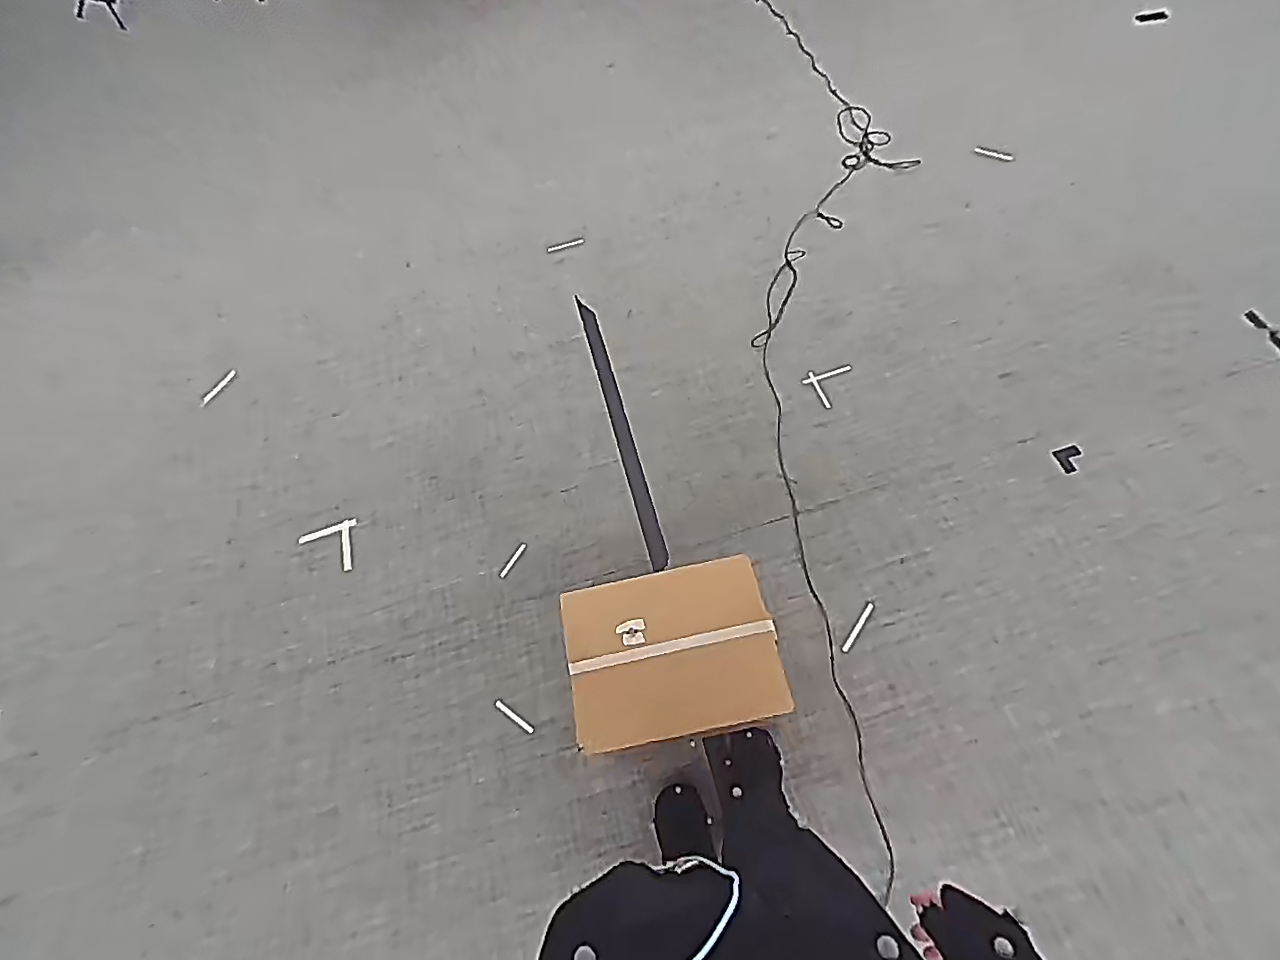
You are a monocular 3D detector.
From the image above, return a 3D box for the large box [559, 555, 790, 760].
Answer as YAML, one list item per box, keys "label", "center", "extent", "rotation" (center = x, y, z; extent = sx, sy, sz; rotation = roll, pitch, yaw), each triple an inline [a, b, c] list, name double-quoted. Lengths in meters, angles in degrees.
- label: "large box"
  center: [0.073, 0.399, 1.185]
  extent: [0.408, 0.320, 0.320]
  rotation: [-14, 61, 2]
